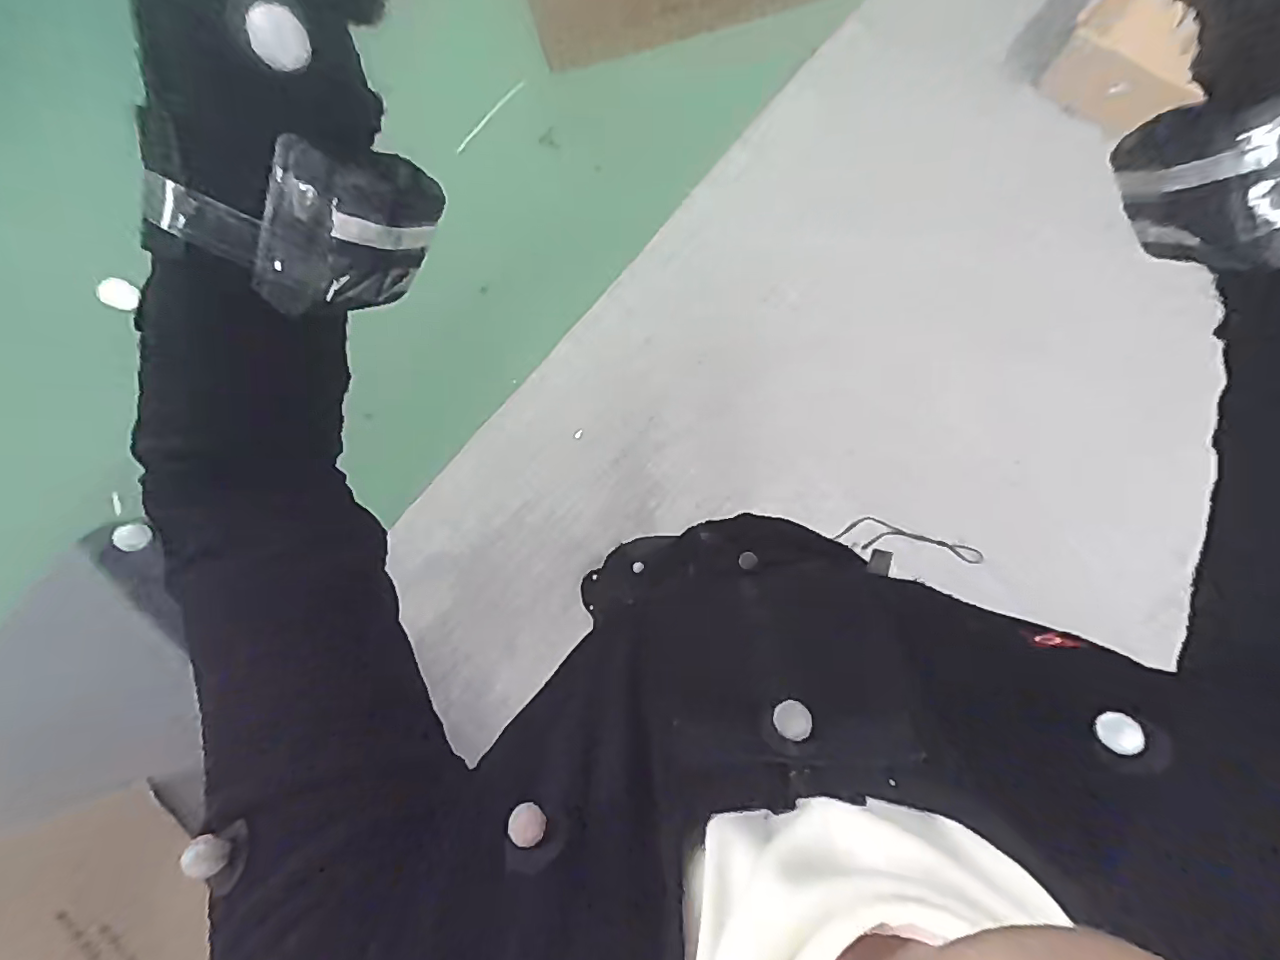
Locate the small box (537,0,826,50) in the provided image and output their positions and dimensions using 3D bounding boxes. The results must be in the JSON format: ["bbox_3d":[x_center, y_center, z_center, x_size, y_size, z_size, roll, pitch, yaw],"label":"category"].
[{"bbox_3d":[0.011,-0.321,0.216,0.168,0.176,0.179,-13,87,3],"label":"small box"}]
